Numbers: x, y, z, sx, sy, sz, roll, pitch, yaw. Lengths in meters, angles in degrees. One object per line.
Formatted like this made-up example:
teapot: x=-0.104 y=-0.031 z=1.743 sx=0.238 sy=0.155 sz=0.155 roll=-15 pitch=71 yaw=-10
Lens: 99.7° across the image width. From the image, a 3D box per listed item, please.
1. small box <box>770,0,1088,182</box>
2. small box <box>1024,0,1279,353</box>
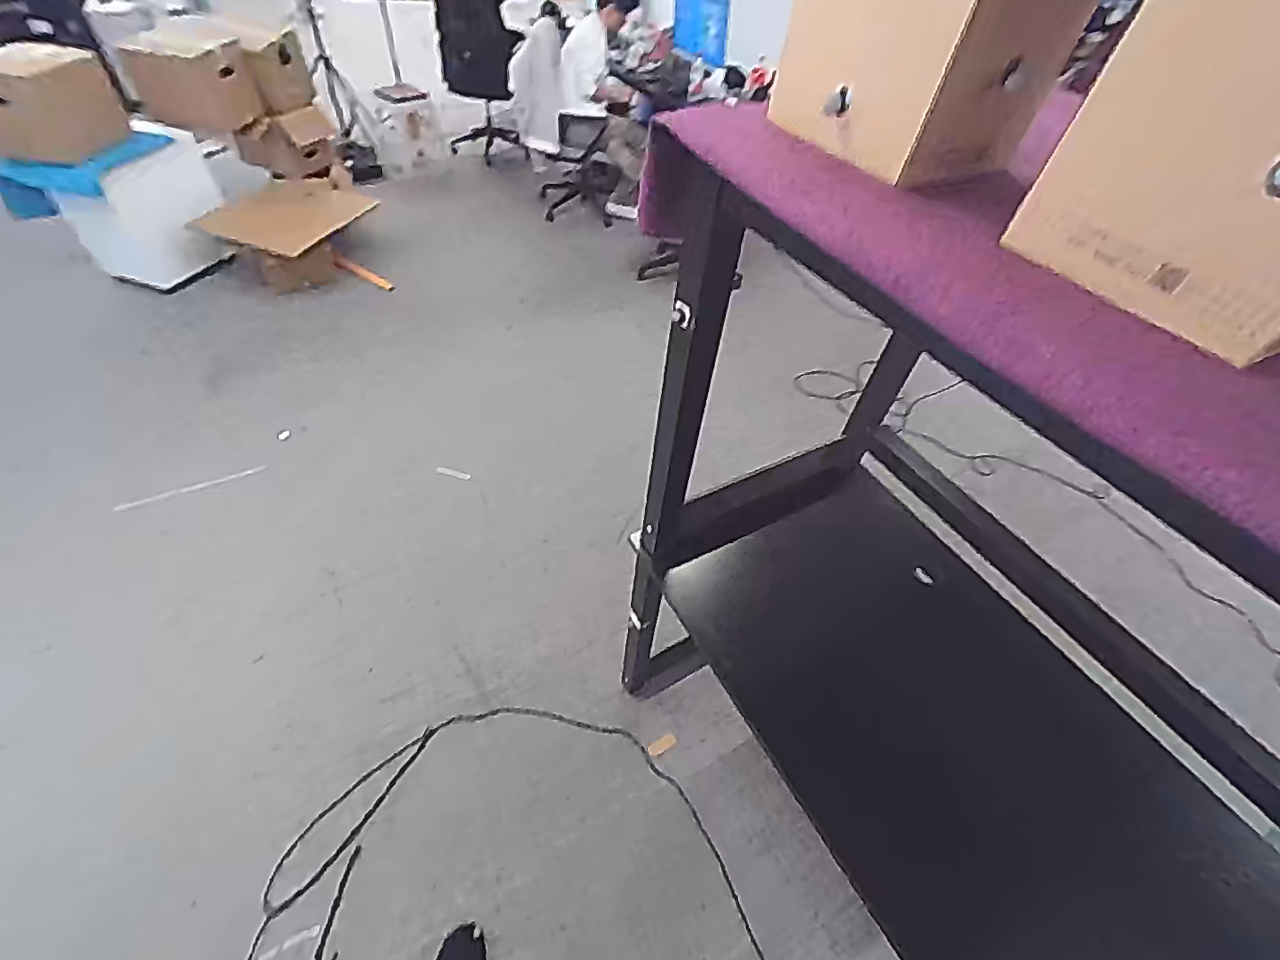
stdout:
small box: x=0.247 y=-0.379 z=0.476 sx=0.168 sy=0.176 sz=0.179 roll=-22 pitch=55 yaw=-25
small box: x=0.385 y=-0.196 z=0.327 sx=0.179 sy=0.176 sz=0.168 roll=-17 pitch=52 yaw=-23
